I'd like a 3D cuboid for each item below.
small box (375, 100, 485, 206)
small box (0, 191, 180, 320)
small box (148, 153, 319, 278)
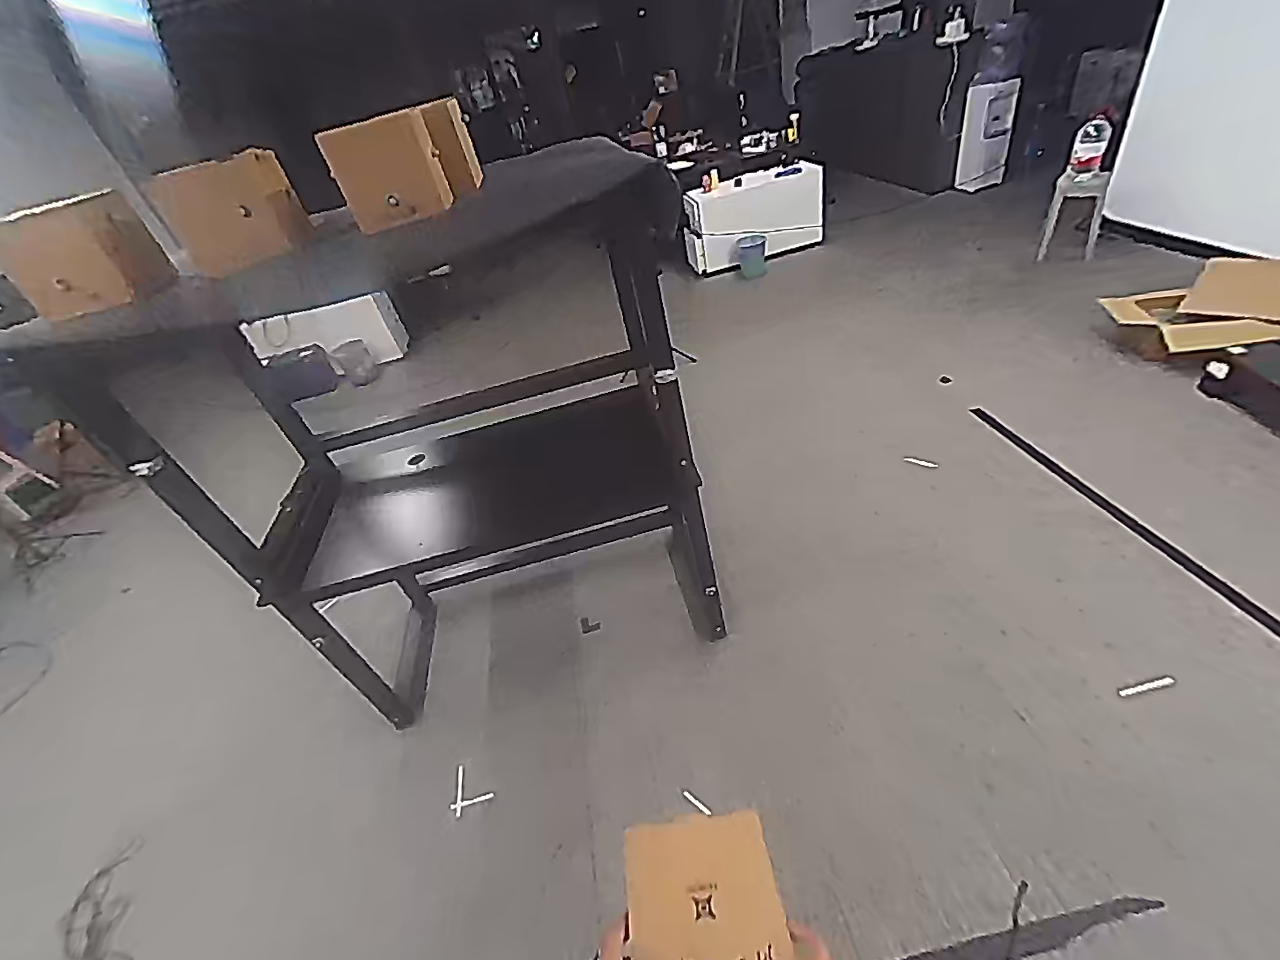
[{"bbox_3d":[-0.458,-0.732,1.213,0.168,0.176,0.179,-16,38,0],"label":"small box"},{"bbox_3d":[-1.022,-0.420,1.011,0.168,0.176,0.179,-18,38,-4],"label":"small box"},{"bbox_3d":[-0.752,-0.504,1.029,0.179,0.176,0.168,-16,36,-4],"label":"small box"}]
